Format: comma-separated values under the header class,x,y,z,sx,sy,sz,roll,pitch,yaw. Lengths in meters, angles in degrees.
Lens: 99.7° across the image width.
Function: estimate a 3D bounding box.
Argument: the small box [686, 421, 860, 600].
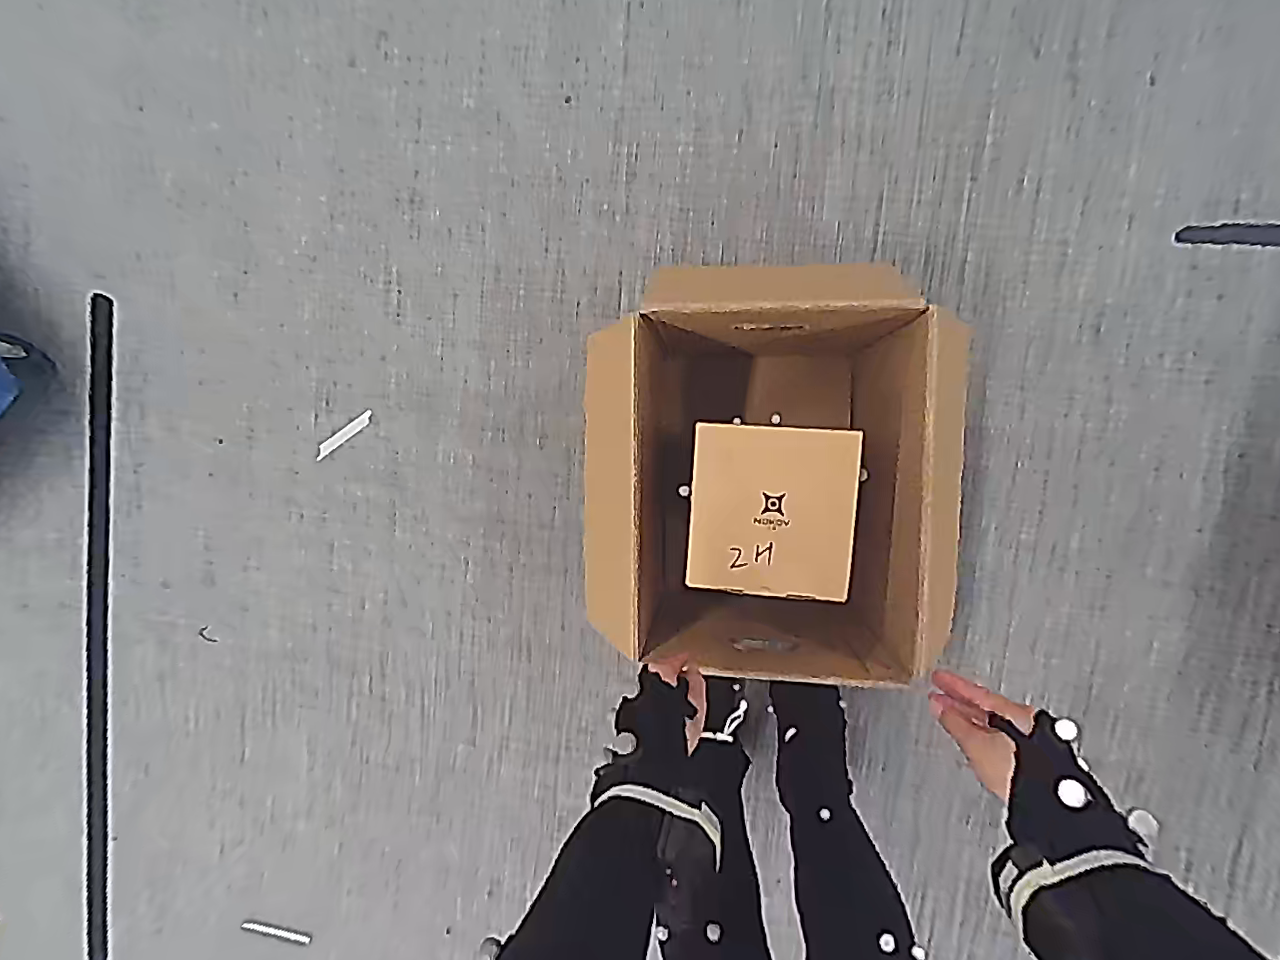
class,x,y,z,sx,sy,sz,roll,pitch,yaw
small box,0.145,0.025,0.635,0.168,0.176,0.179,4,95,8
